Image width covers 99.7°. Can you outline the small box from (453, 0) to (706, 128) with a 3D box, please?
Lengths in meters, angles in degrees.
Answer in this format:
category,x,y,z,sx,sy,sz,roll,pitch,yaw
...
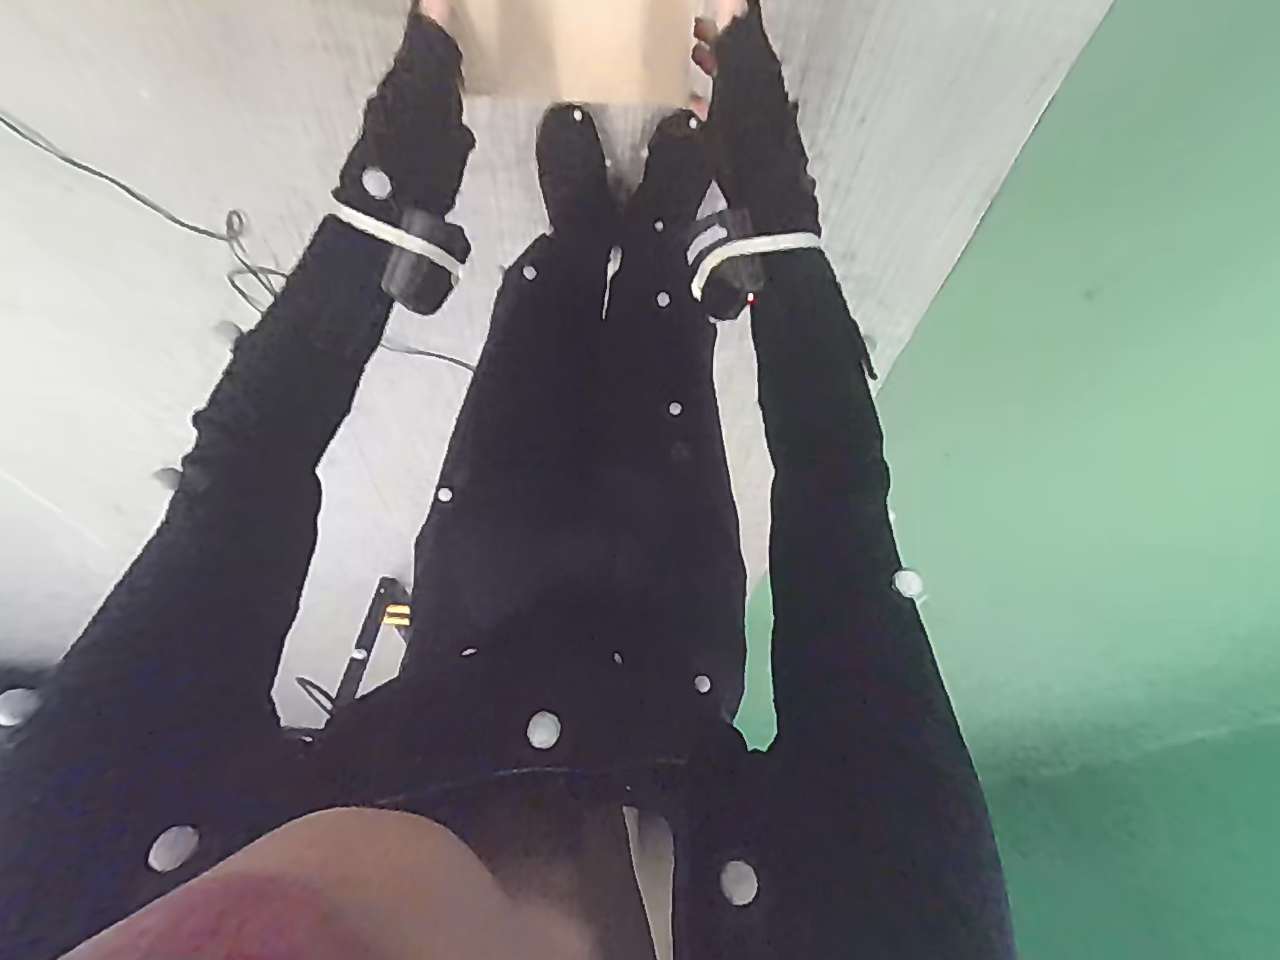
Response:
category,x,y,z,sx,sy,sz,roll,pitch,yaw
small box,-0.039,-0.383,0.380,0.168,0.176,0.179,0,144,-4
